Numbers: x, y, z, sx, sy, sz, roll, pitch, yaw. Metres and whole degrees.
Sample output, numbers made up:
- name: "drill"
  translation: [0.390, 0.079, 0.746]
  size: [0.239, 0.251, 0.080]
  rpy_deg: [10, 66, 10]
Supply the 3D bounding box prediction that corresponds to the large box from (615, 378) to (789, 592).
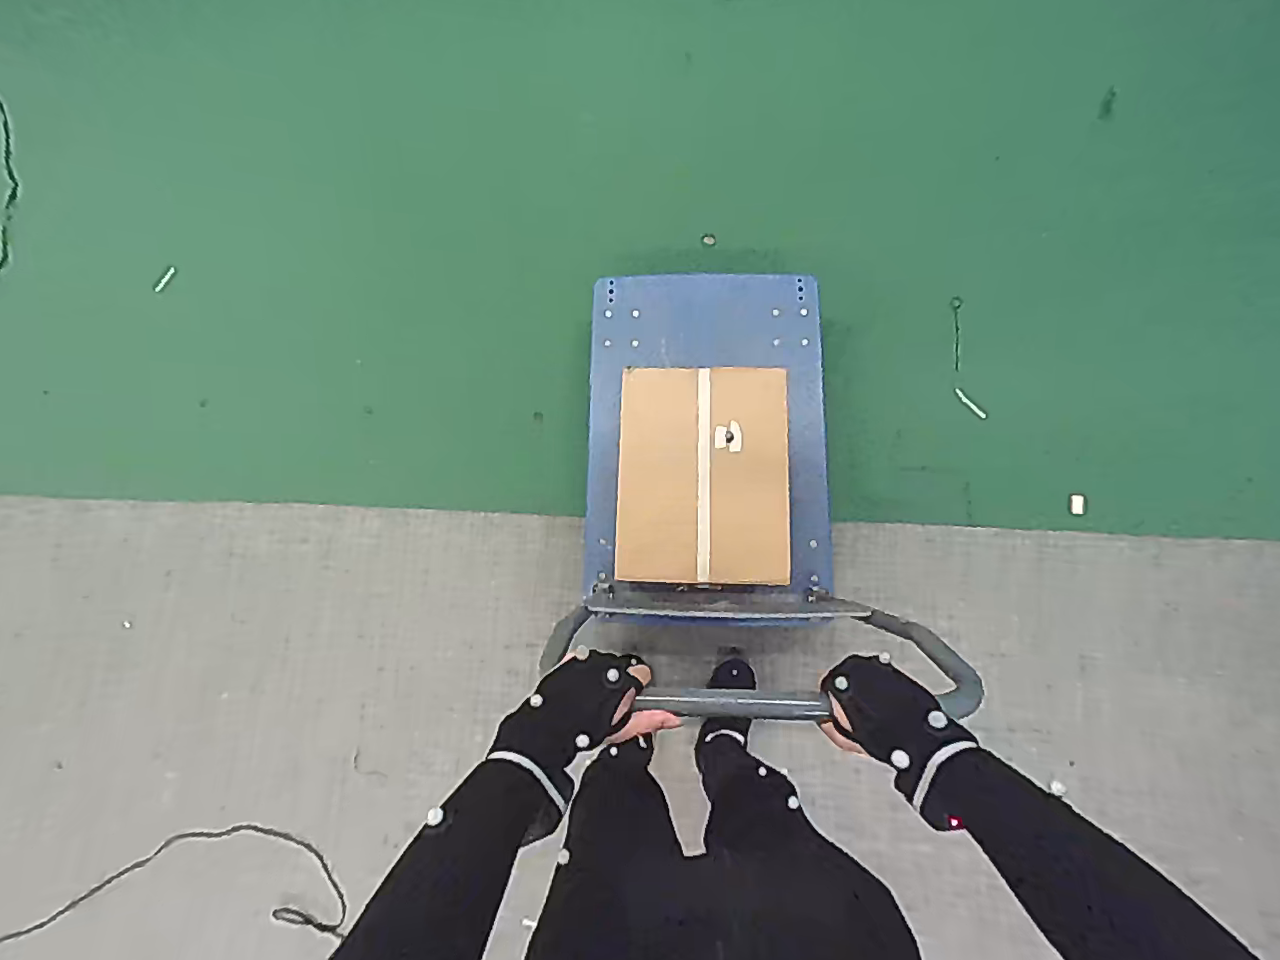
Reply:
- name: "large box"
  translation: [0.120, 0.030, 1.148]
  size: [0.320, 0.320, 0.408]
  rpy_deg: [1, 78, 2]
